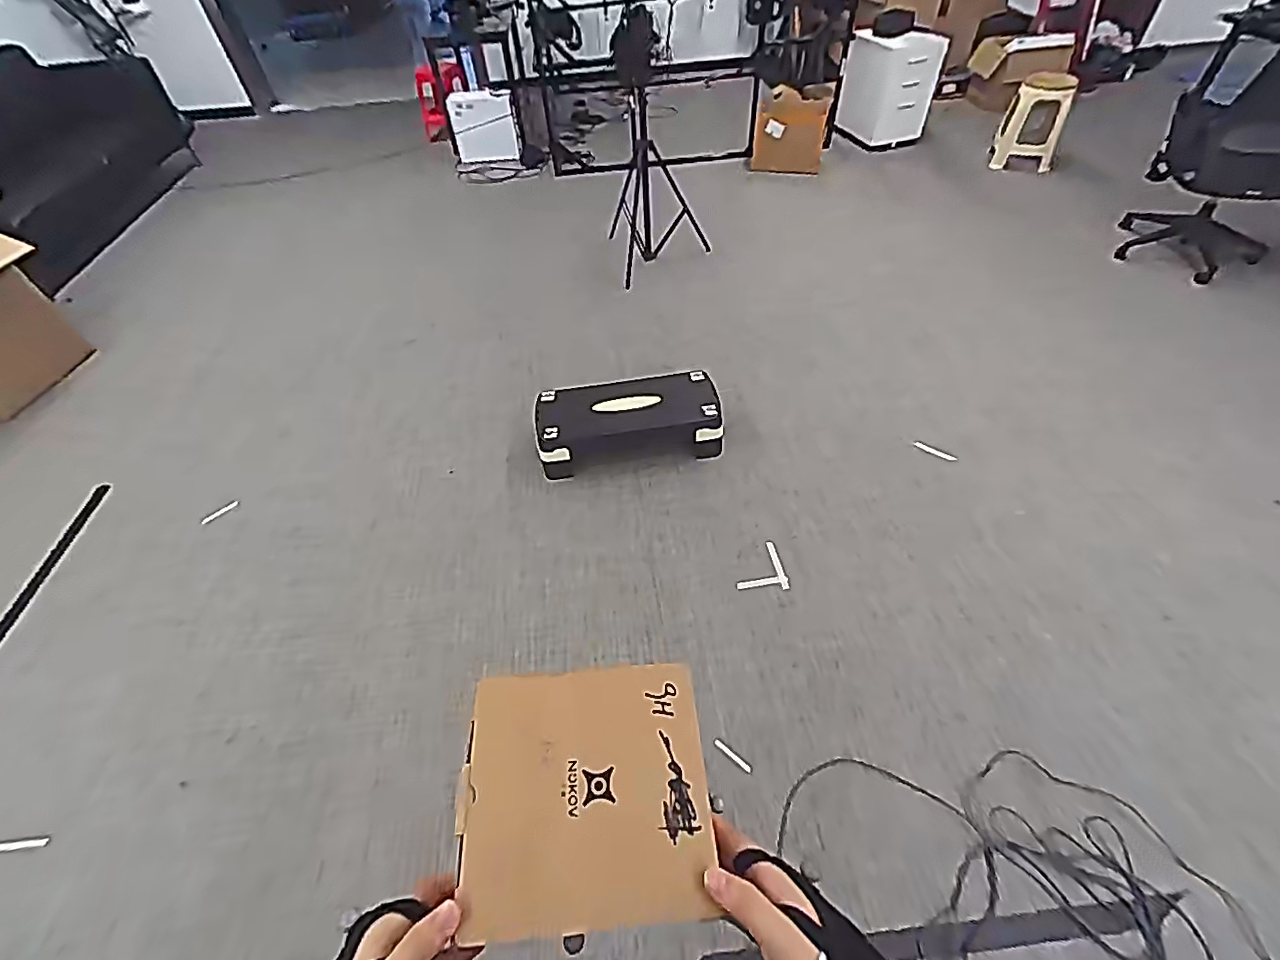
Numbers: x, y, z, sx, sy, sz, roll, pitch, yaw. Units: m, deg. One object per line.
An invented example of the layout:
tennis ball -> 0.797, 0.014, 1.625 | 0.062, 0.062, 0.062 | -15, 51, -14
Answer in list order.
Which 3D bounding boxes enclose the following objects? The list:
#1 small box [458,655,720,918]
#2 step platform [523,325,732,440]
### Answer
small box -> -0.036, 0.265, 0.464 | 0.179, 0.176, 0.168 | -4, 53, -3
step platform -> -0.041, -0.331, 1.849 | 0.684, 0.204, 0.286 | -8, 49, -4
